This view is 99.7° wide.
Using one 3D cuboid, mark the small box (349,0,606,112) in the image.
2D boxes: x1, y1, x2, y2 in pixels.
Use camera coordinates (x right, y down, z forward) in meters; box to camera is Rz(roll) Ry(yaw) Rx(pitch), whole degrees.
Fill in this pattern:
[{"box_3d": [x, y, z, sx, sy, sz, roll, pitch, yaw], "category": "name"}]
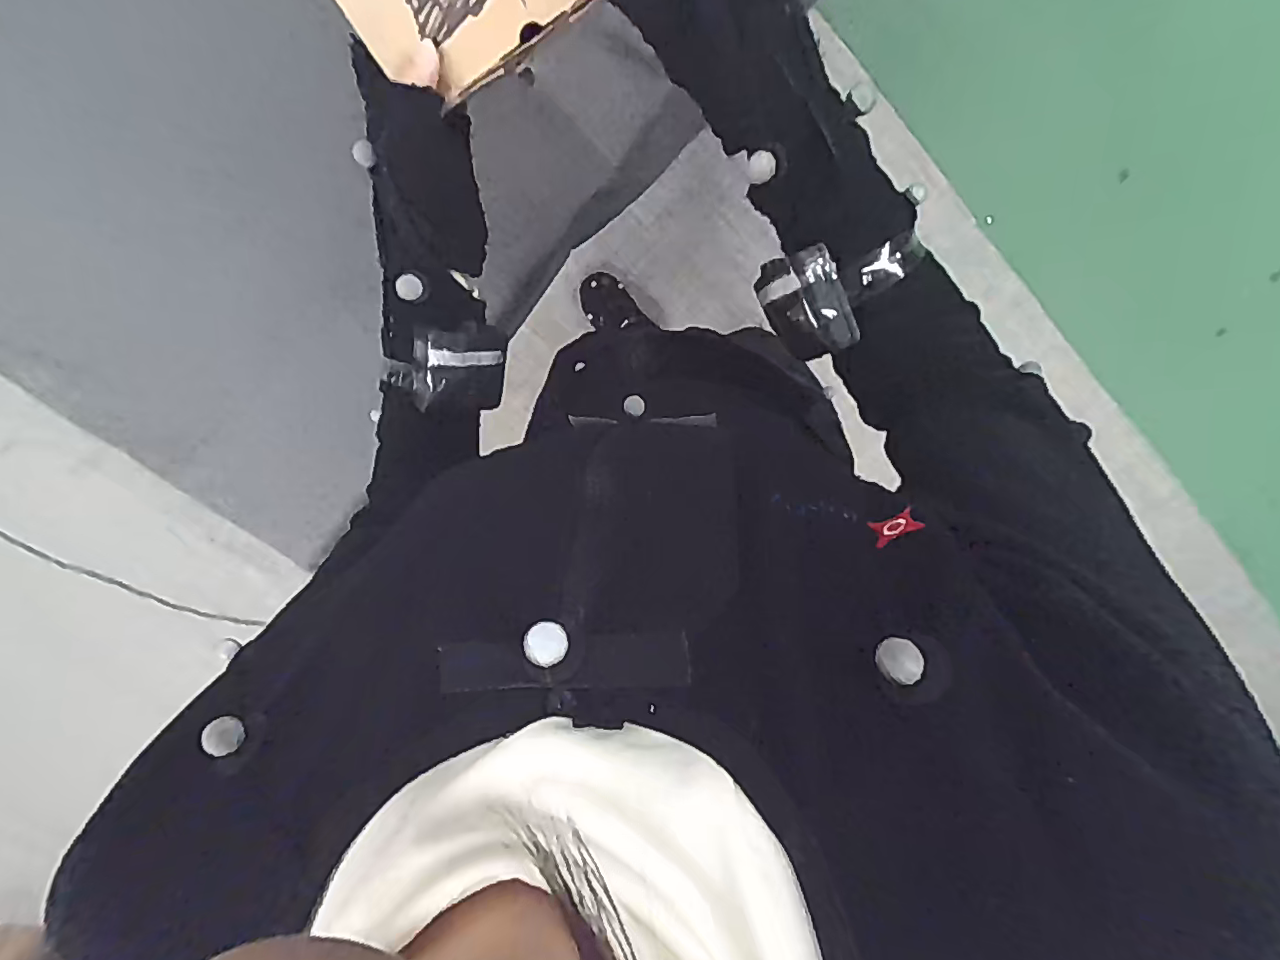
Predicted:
[{"box_3d": [-0.084, -0.347, 0.291, 0.168, 0.176, 0.179, -17, 130, 22], "category": "small box"}]
